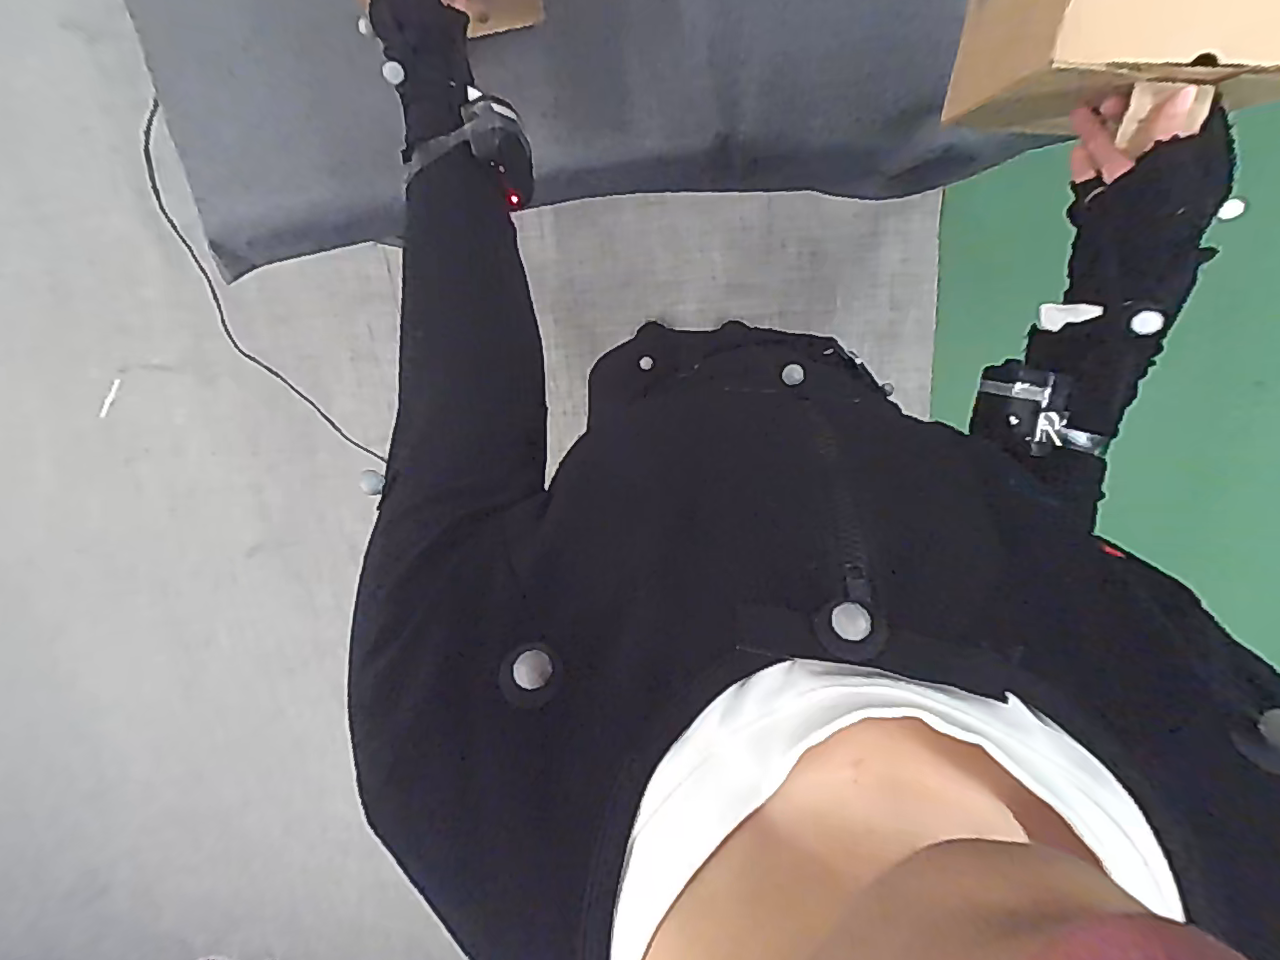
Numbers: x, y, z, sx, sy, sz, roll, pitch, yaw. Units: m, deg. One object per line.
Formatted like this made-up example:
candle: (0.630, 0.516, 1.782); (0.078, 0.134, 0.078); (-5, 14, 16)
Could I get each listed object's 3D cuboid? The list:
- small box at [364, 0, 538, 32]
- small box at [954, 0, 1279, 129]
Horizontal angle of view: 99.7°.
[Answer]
small box: (-0.194, -0.534, 0.468); (0.168, 0.176, 0.179); (-12, 101, 0)
small box: (0.333, -0.341, 0.345); (0.168, 0.176, 0.179); (6, 114, 4)
